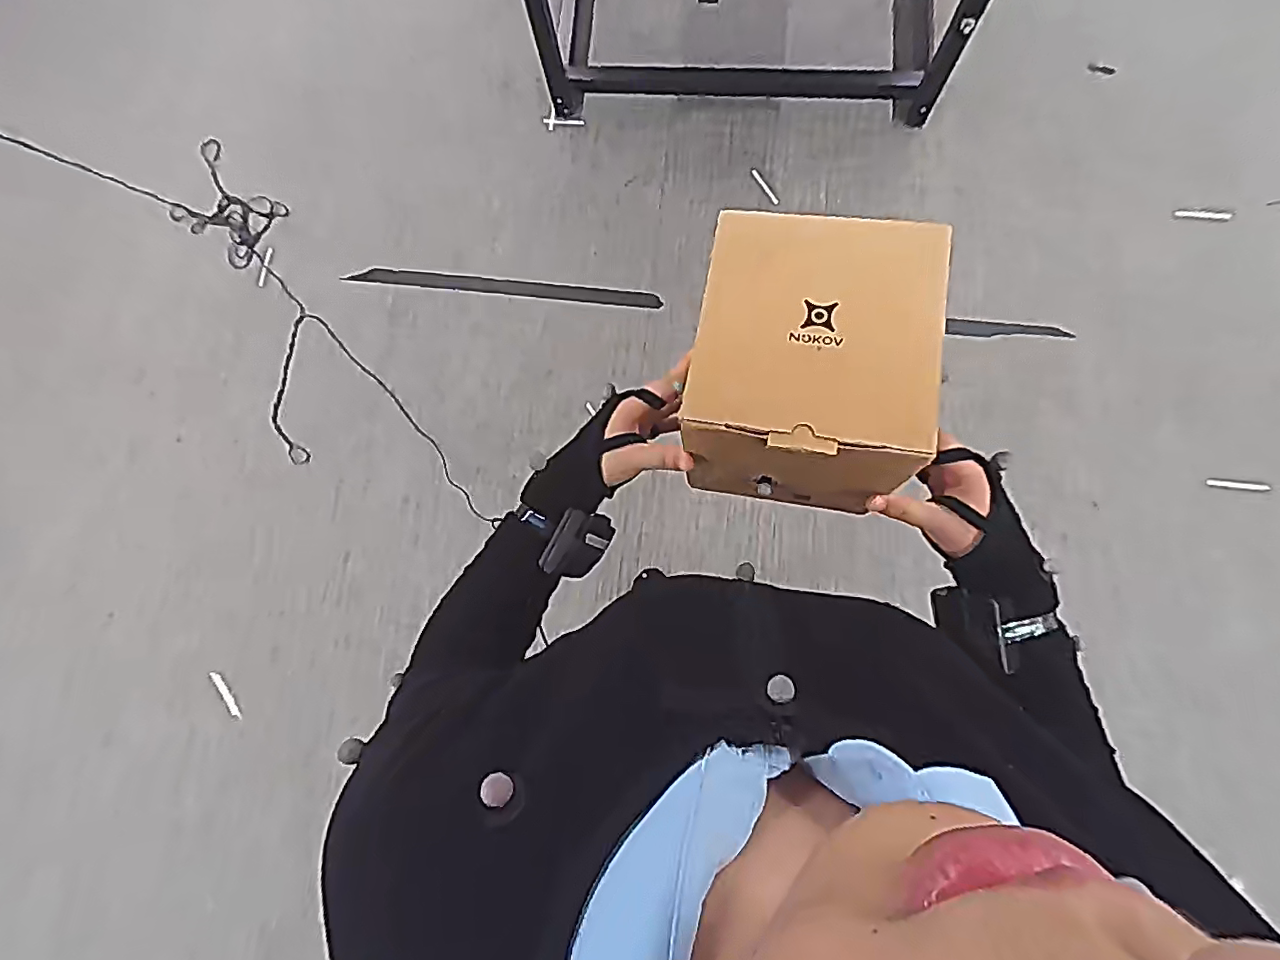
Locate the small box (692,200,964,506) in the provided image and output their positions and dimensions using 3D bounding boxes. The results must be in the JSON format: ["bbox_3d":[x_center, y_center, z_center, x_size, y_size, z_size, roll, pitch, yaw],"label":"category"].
[{"bbox_3d":[0.138,-0.091,0.441,0.168,0.176,0.179,8,76,10],"label":"small box"}]
